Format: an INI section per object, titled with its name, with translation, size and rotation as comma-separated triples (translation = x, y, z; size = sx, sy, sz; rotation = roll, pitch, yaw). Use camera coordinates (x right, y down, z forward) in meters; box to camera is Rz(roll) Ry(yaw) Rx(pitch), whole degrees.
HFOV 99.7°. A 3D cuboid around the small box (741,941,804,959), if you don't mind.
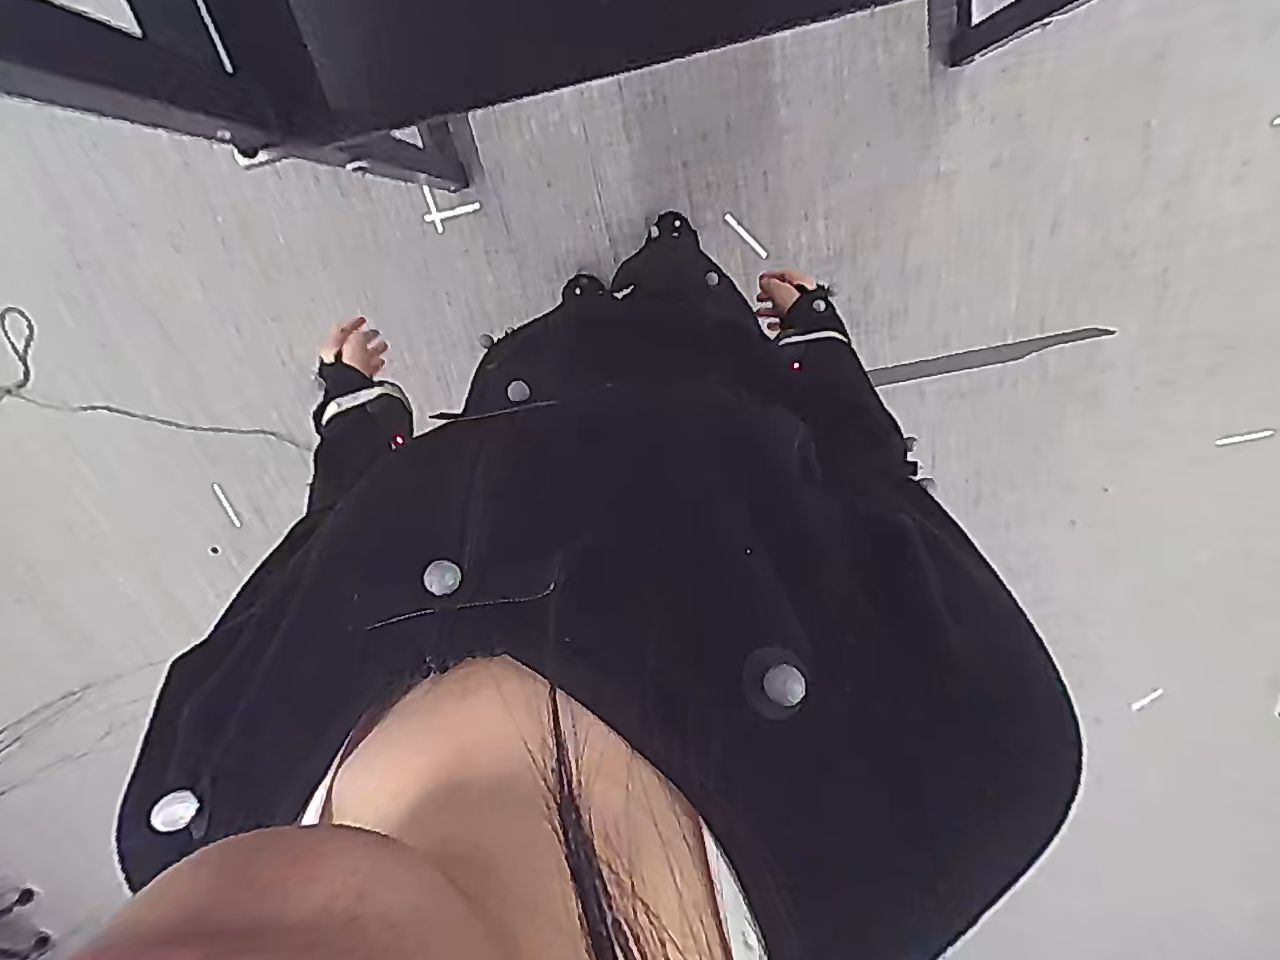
[small box]
translation = 0.378, 1.393, 1.470
size = 0.168, 0.176, 0.179
rotation = -10, 114, 2
